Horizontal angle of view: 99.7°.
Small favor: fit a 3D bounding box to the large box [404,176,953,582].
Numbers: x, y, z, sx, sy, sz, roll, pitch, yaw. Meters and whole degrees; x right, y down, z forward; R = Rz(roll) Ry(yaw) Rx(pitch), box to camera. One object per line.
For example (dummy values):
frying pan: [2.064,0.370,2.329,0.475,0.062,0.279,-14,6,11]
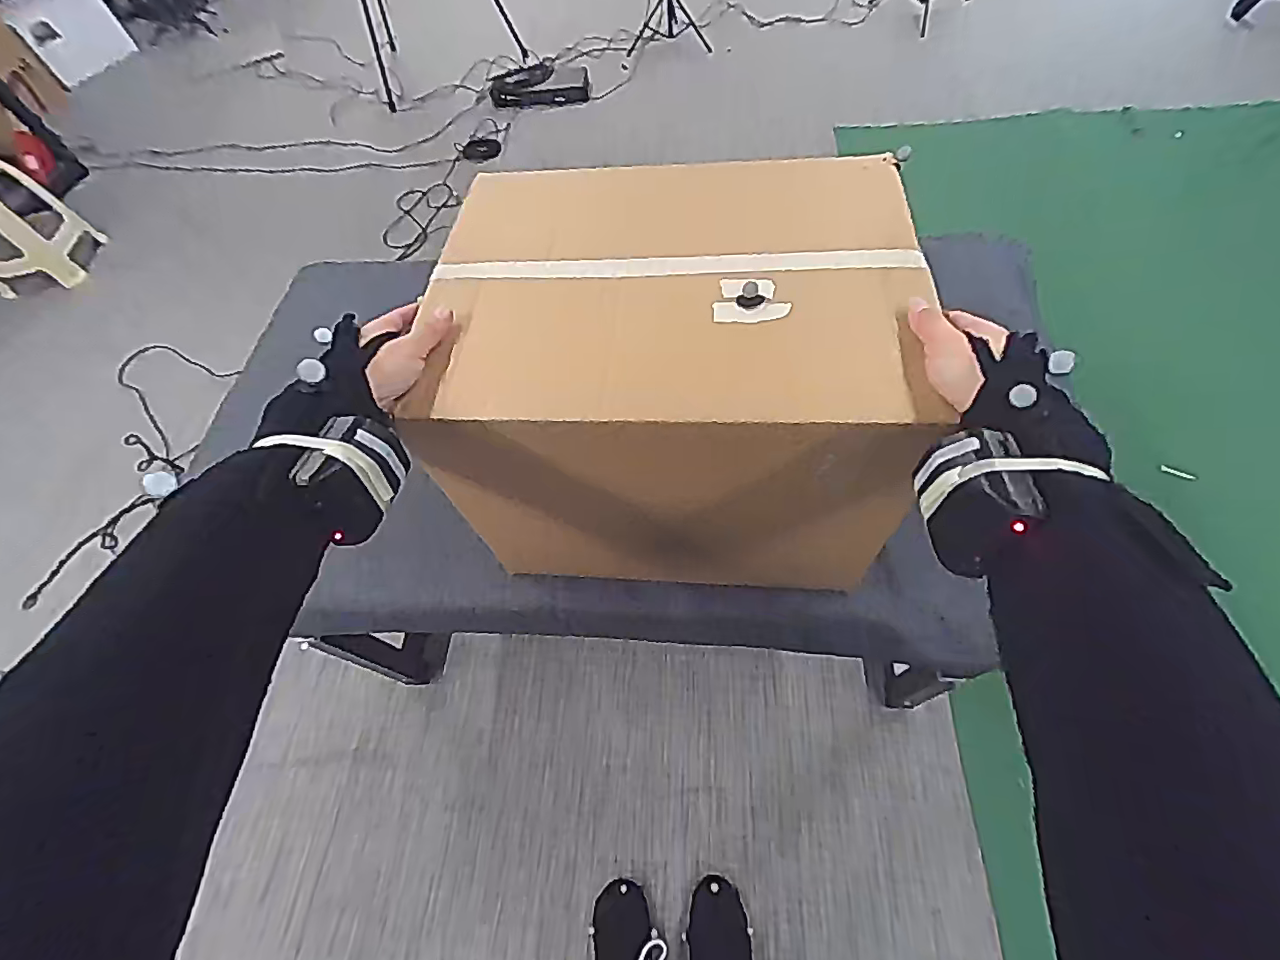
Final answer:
large box: [0.037,-0.091,0.589,0.408,0.320,0.320,1,59,6]
